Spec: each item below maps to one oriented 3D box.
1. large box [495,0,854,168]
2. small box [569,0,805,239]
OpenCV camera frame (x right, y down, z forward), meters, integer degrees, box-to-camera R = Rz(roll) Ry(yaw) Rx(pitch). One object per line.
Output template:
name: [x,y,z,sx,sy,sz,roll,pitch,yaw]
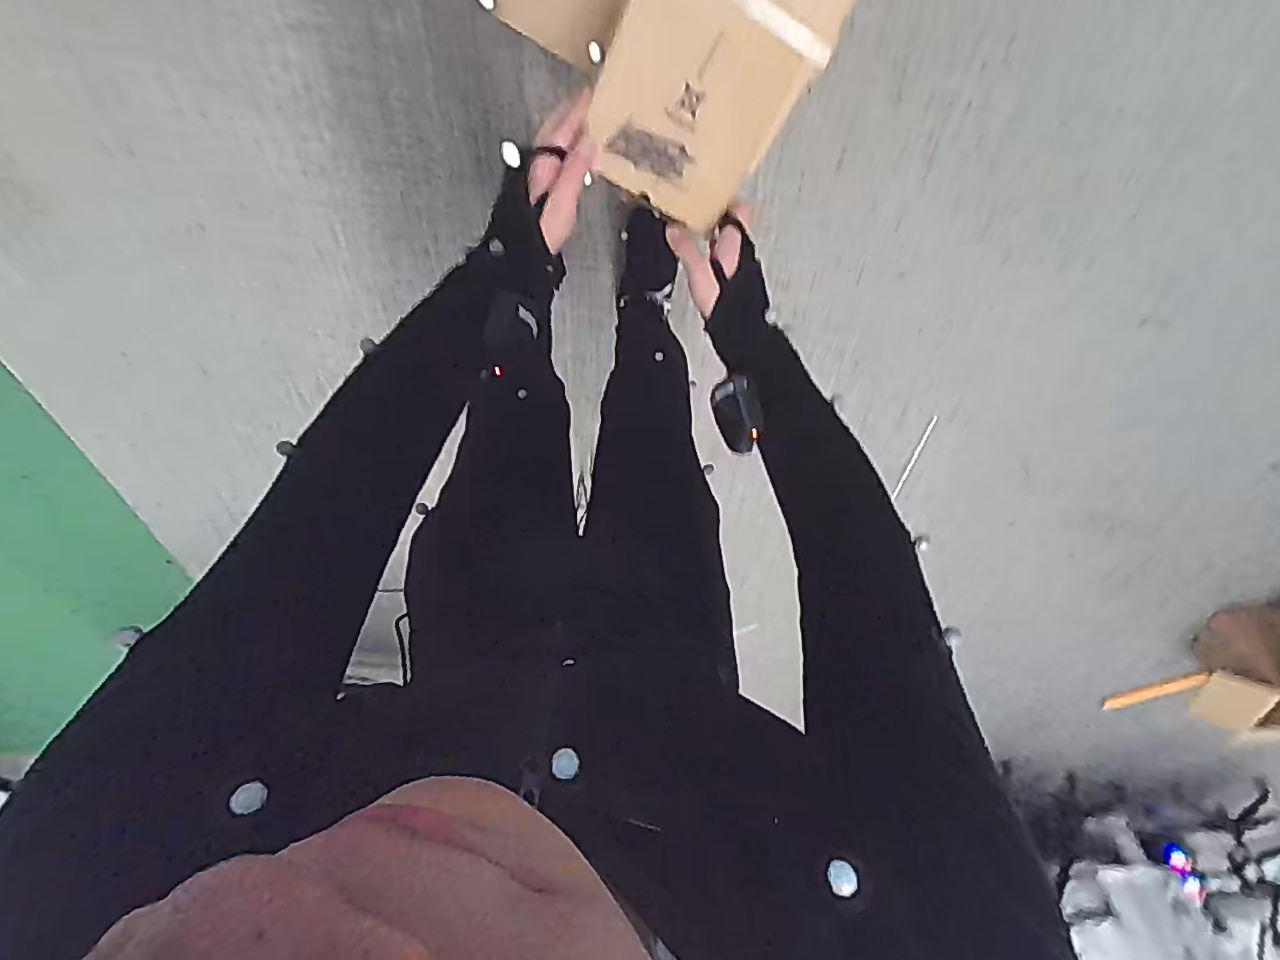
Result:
large box: [0.070,-0.718,0.748,0.408,0.320,0.320,23,130,-15]
small box: [0.033,-0.386,0.570,0.168,0.176,0.179,20,116,-21]
